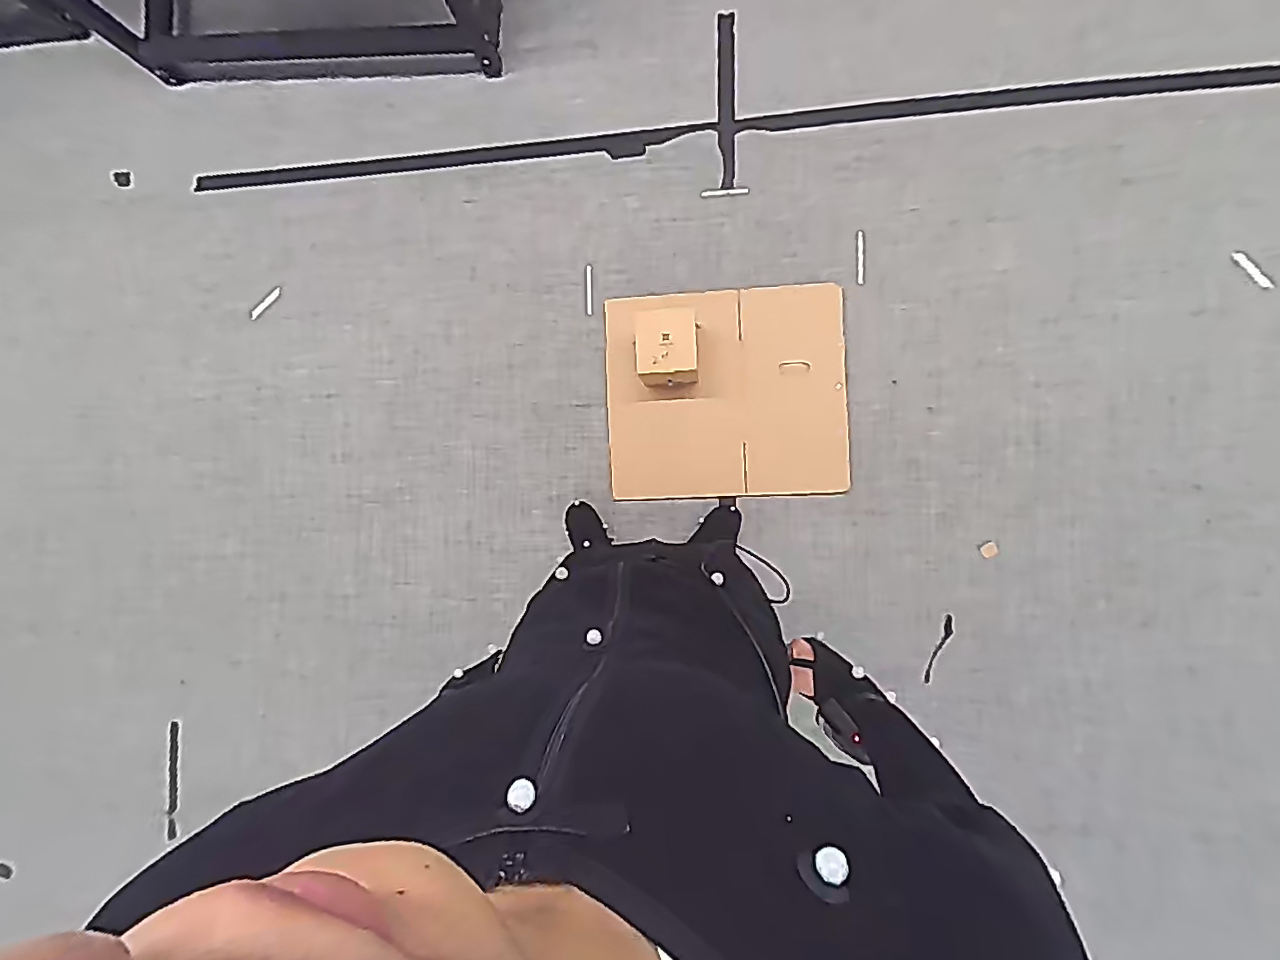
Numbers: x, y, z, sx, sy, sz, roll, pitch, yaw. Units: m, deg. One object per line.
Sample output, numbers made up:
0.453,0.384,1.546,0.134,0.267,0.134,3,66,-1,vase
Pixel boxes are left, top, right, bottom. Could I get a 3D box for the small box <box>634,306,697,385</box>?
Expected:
0.075,-0.374,1.529,0.168,0.176,0.179,-3,90,7,small box
